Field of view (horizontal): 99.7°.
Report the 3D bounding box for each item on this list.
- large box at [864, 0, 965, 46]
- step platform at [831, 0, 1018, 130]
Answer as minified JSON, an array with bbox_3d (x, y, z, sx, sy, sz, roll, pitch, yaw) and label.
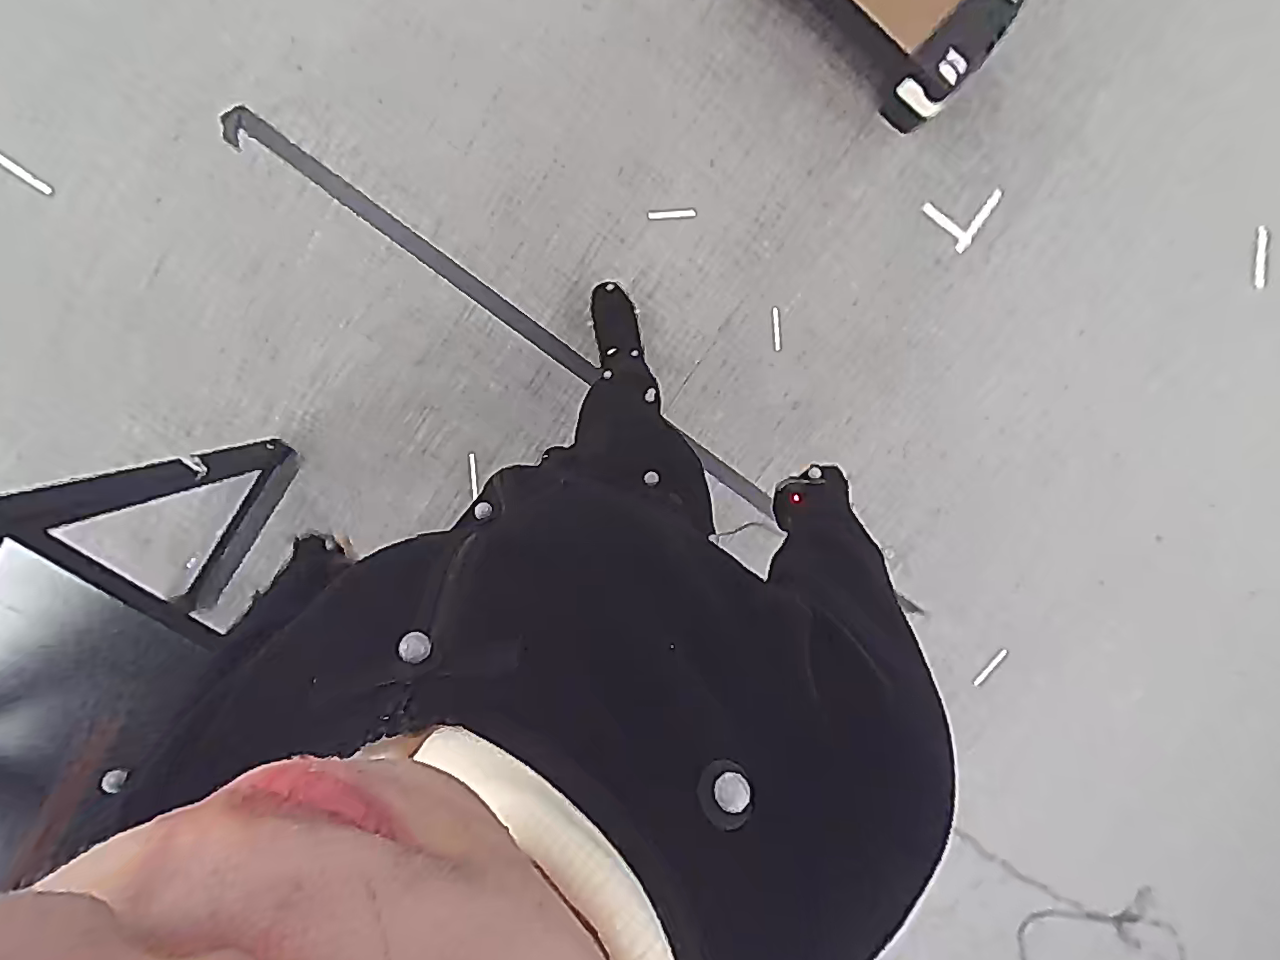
[{"bbox_3d":[0.514,-1.106,0.945,0.408,0.320,0.320,36,97,-7],"label":"large box"},{"bbox_3d":[0.483,-1.148,1.180,0.684,0.204,0.286,41,97,-8],"label":"step platform"}]
